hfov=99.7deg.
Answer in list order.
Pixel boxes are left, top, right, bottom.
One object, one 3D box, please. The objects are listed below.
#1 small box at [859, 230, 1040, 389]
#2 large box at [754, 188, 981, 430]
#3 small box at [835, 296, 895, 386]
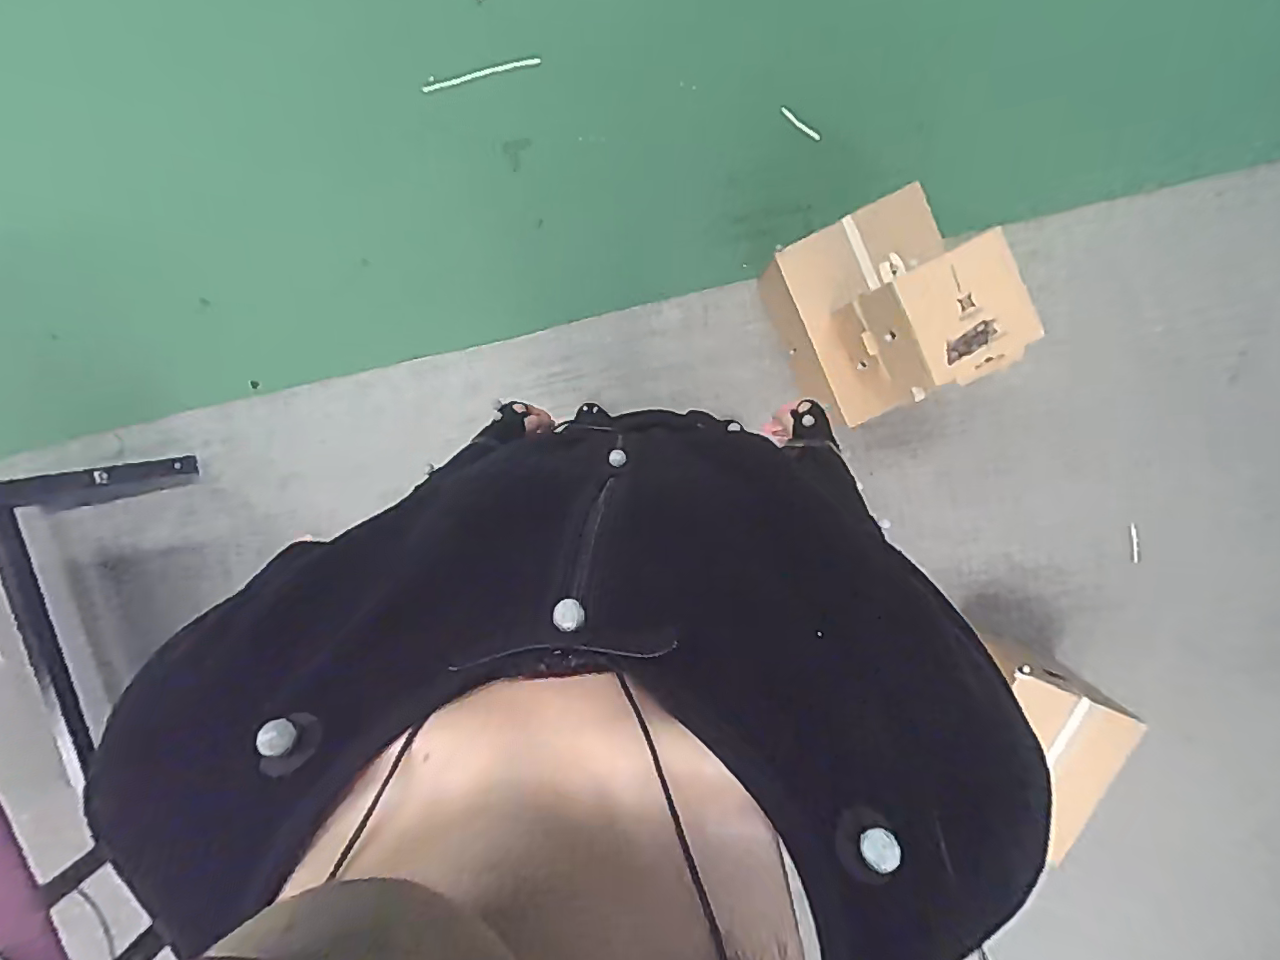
[{"bbox_3d":[0.480,-0.260,0.865,0.168,0.176,0.179,-25,95,8],"label":"small box"},{"bbox_3d":[0.503,-0.364,1.262,0.320,0.320,0.408,-25,94,7],"label":"large box"},{"bbox_3d":[0.490,-0.286,1.027,0.179,0.176,0.168,-24,96,8],"label":"small box"}]
